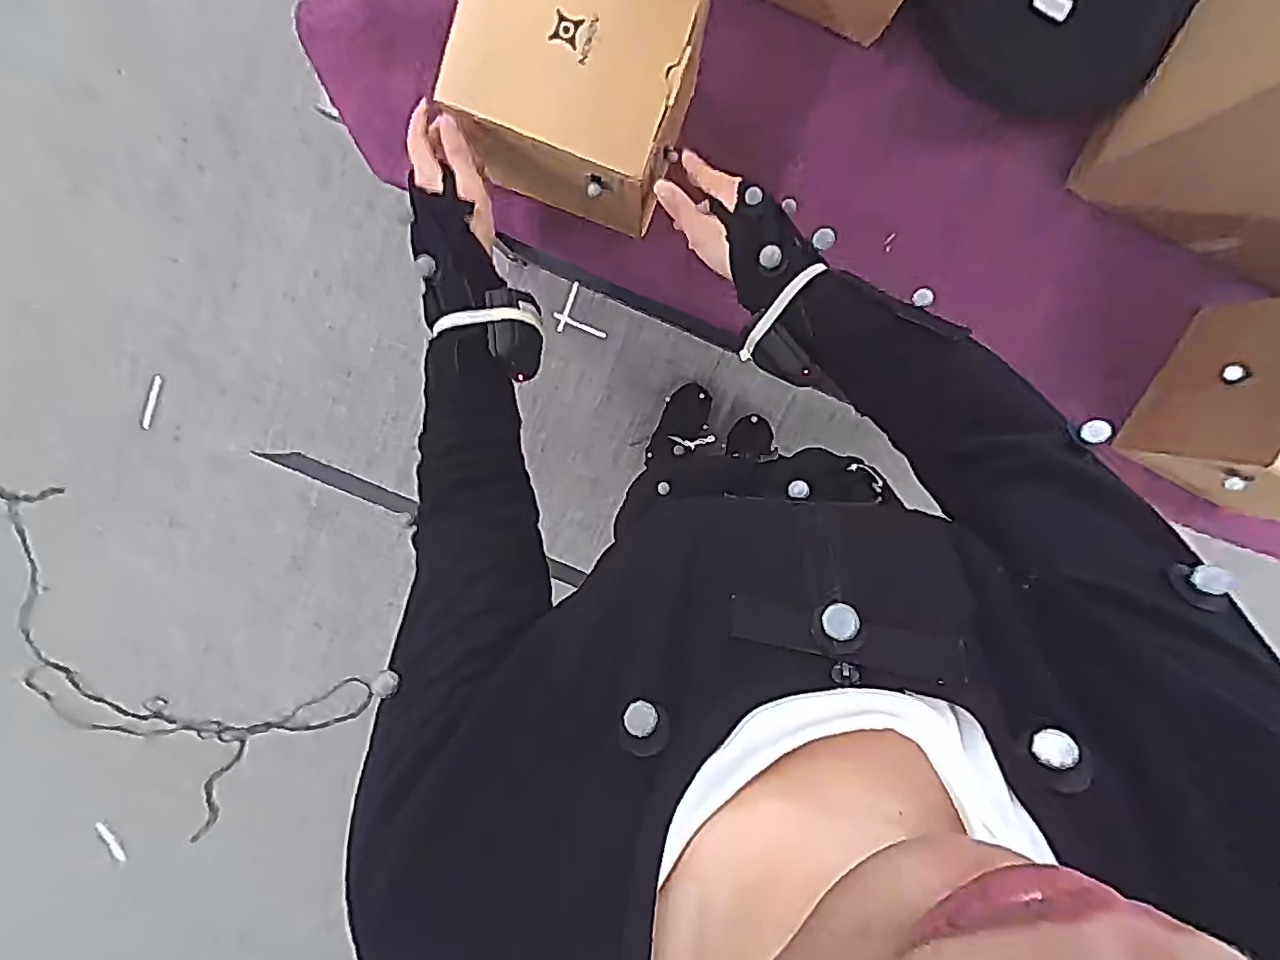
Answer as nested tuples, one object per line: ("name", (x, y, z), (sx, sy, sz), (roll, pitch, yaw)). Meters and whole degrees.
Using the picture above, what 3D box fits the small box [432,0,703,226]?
("small box", (-0.056, -0.358, 0.492), (0.179, 0.176, 0.168), (19, 99, -4))
